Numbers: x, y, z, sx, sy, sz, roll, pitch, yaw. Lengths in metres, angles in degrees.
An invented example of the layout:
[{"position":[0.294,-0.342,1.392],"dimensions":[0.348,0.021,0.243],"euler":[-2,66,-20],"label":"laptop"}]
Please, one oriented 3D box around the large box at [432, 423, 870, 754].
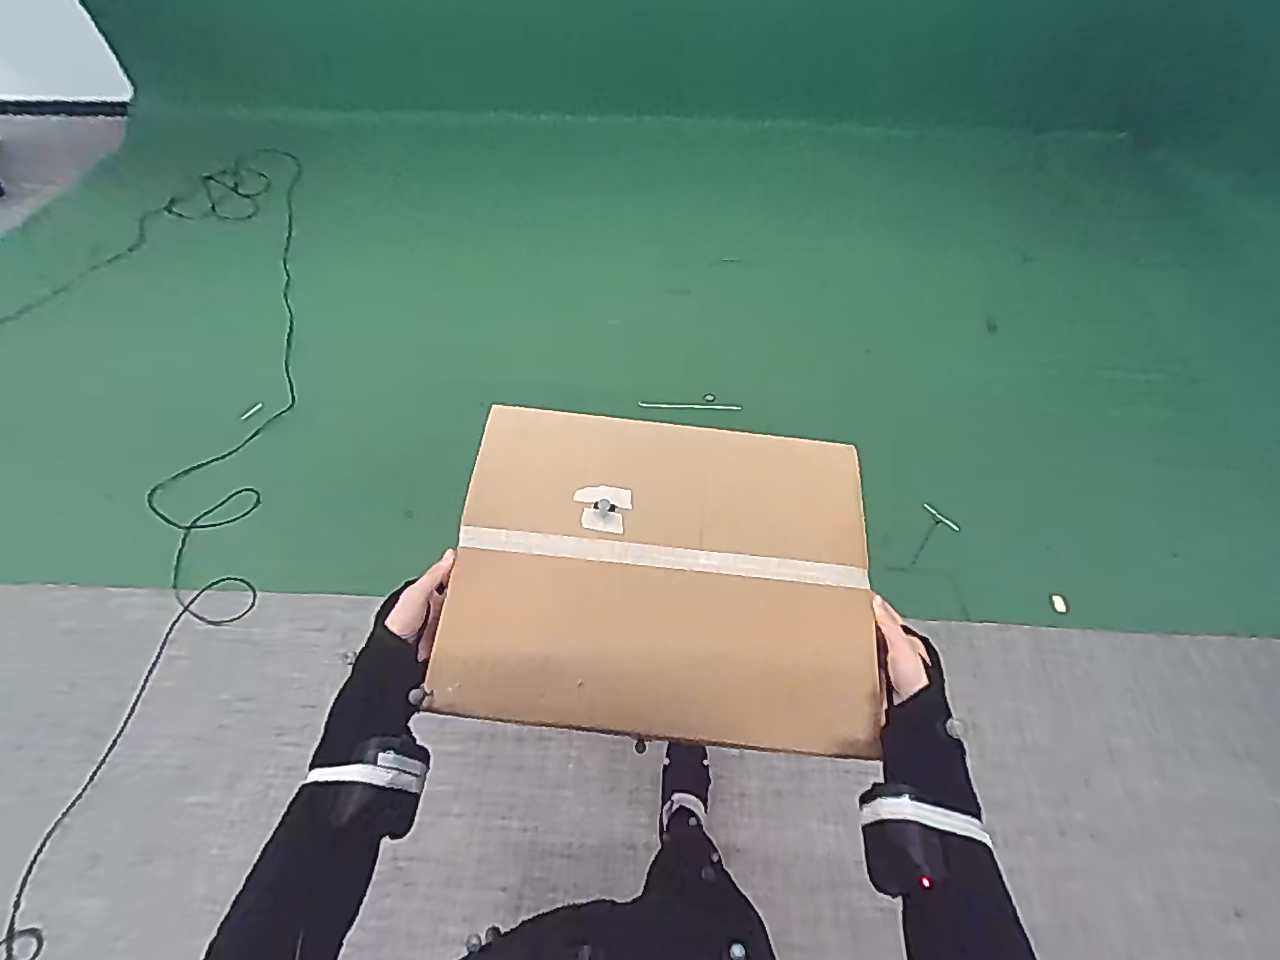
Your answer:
[{"position":[0.018,0.152,0.681],"dimensions":[0.408,0.320,0.320],"euler":[6,64,0],"label":"large box"}]
